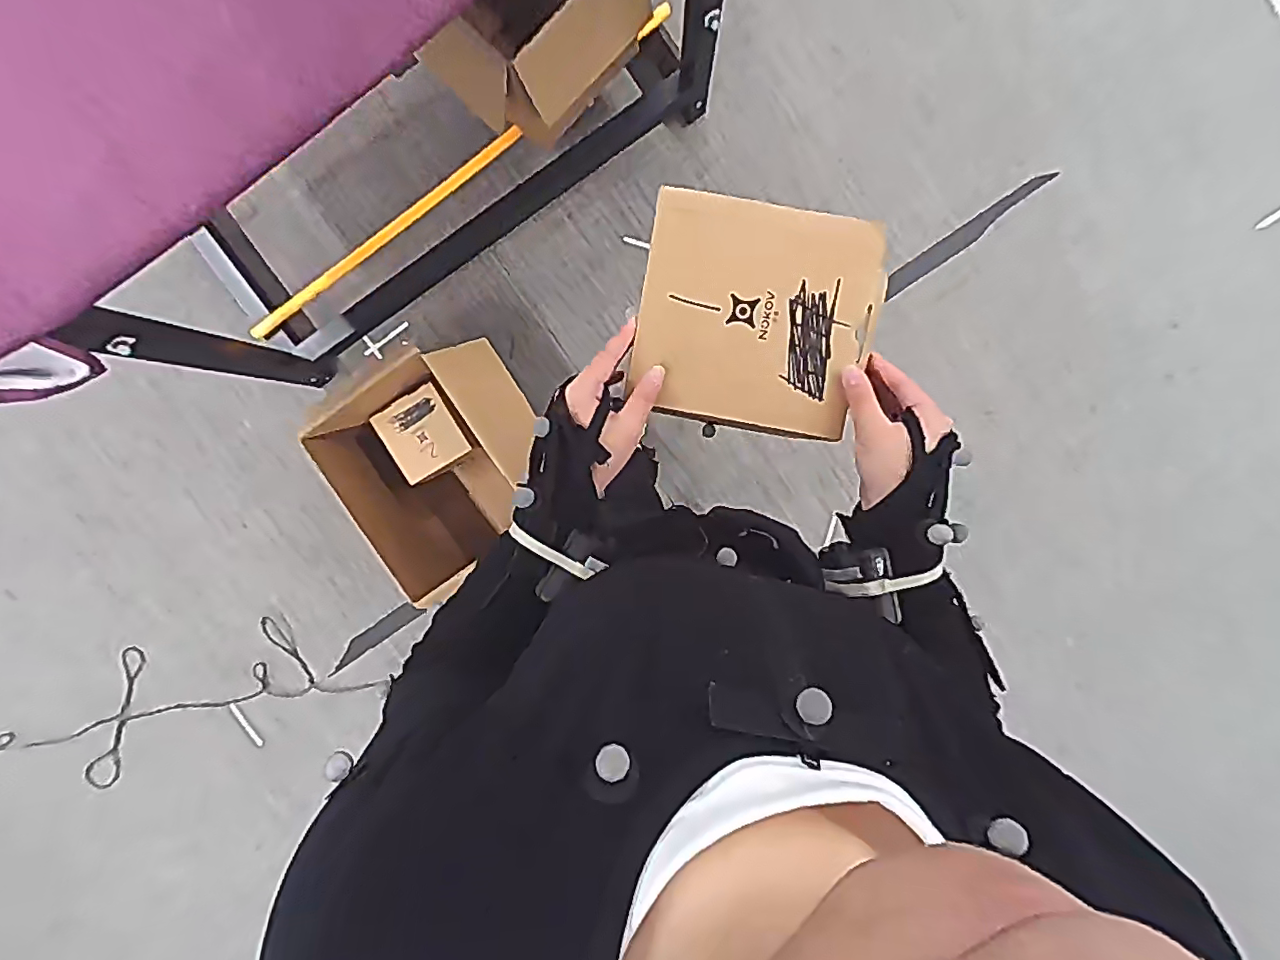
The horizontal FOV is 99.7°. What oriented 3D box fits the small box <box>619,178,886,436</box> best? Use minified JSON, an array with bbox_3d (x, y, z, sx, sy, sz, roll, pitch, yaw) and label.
[{"bbox_3d":[0.085,-0.138,0.489,0.179,0.176,0.168,11,96,1],"label":"small box"}]
